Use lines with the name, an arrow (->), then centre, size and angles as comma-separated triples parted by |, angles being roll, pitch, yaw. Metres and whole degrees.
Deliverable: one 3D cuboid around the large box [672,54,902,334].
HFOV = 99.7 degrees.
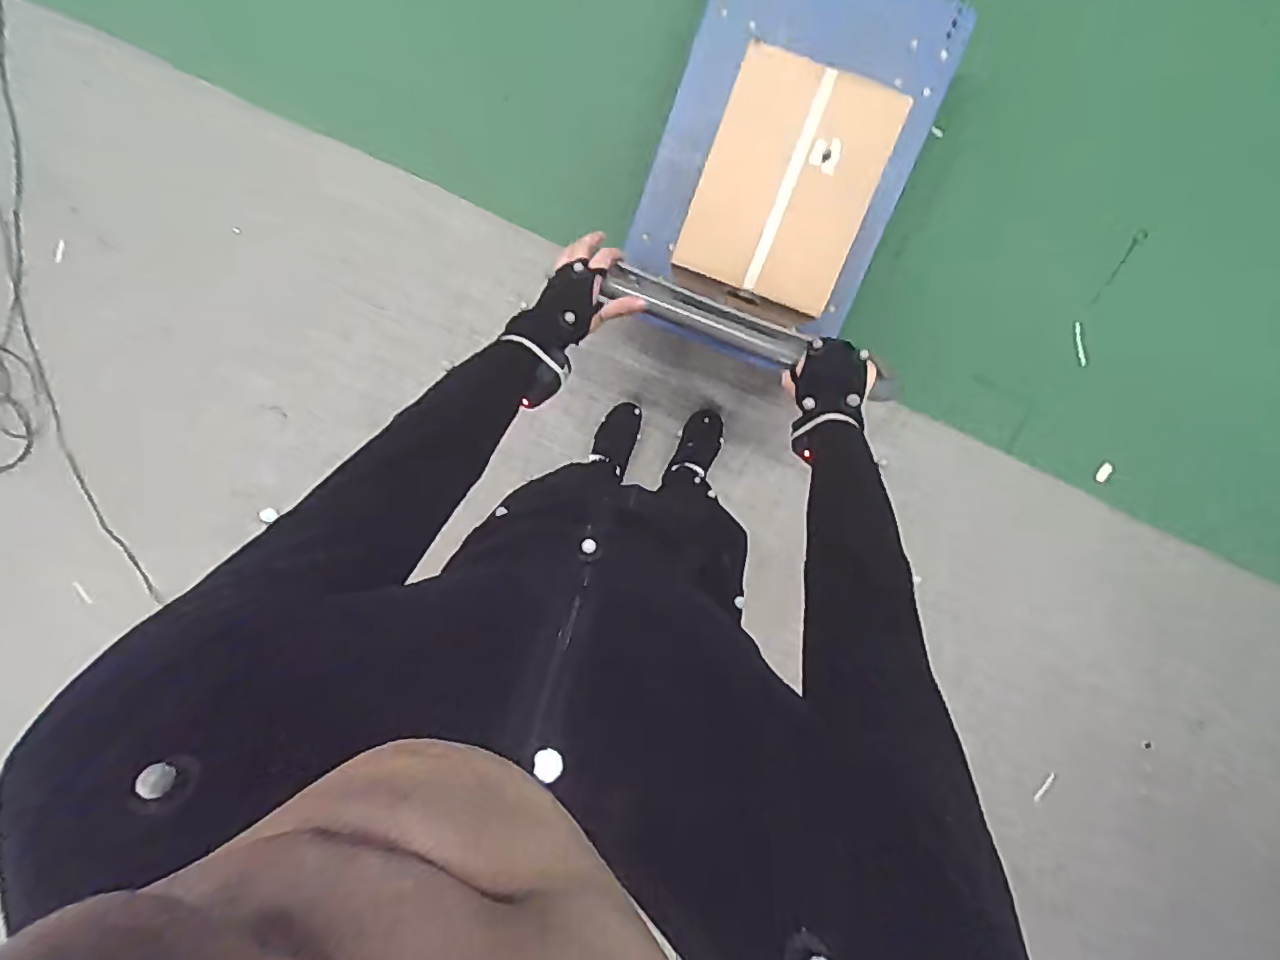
large box -> 0.282, -0.570, 1.168 | 0.320, 0.320, 0.408 | 21, 101, 0
